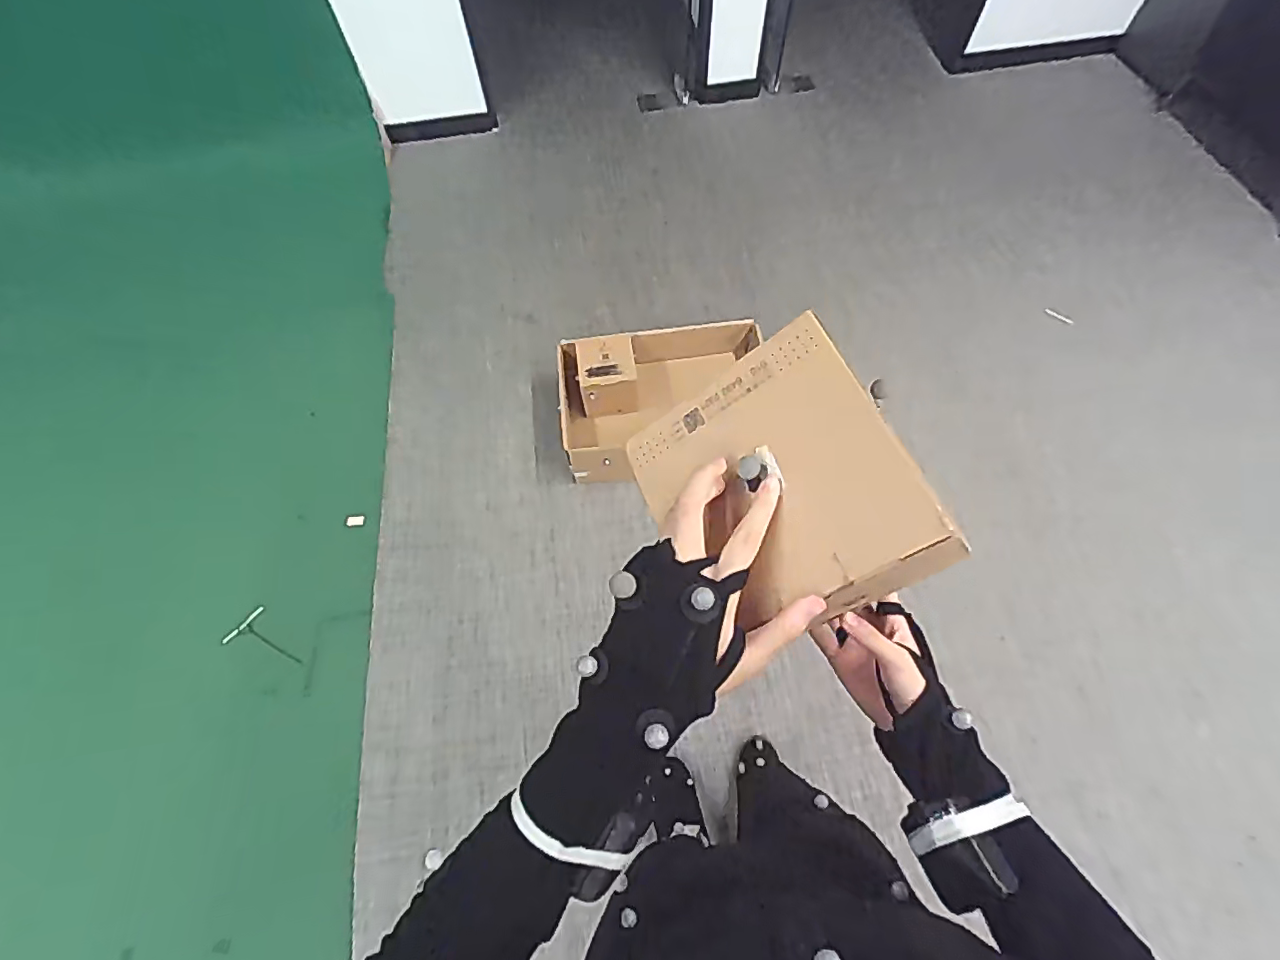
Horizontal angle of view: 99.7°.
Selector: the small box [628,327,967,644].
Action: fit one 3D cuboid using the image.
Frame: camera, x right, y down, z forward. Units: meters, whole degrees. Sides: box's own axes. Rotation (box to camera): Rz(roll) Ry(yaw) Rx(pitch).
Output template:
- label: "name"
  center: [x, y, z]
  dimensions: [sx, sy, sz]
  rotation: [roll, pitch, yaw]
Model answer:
- label: "small box"
  center: [0.116, 0.012, 0.415]
  dimensions: [0.168, 0.179, 0.176]
  rotation: [-33, 62, 25]
